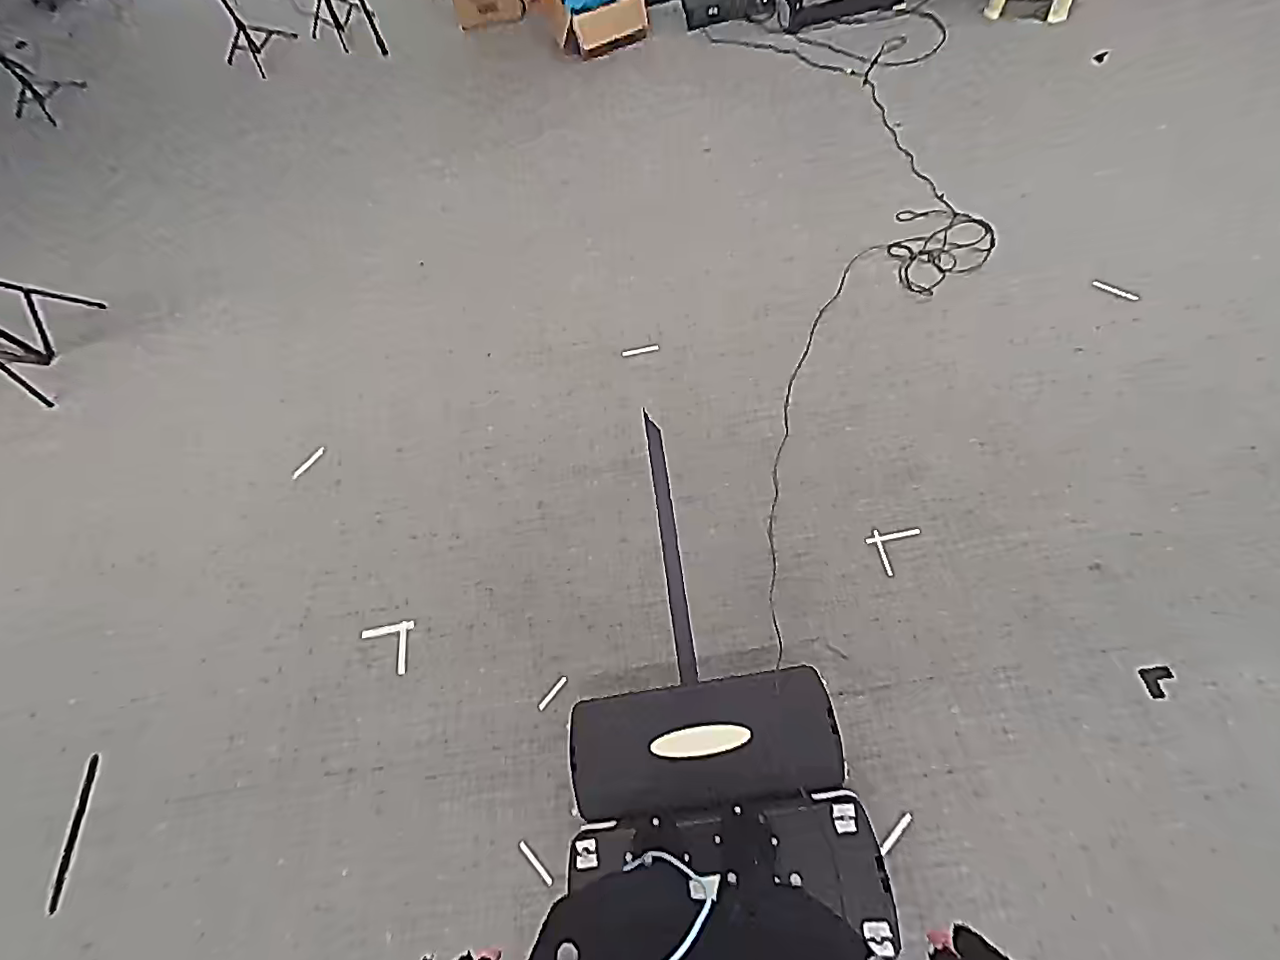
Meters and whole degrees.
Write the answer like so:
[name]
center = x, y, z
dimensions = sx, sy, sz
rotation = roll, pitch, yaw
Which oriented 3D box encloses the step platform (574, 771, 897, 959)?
[step platform]
center = 0.195, 0.858, 1.209
dimensions = 0.684, 0.204, 0.286
rotation = -12, 62, 6
